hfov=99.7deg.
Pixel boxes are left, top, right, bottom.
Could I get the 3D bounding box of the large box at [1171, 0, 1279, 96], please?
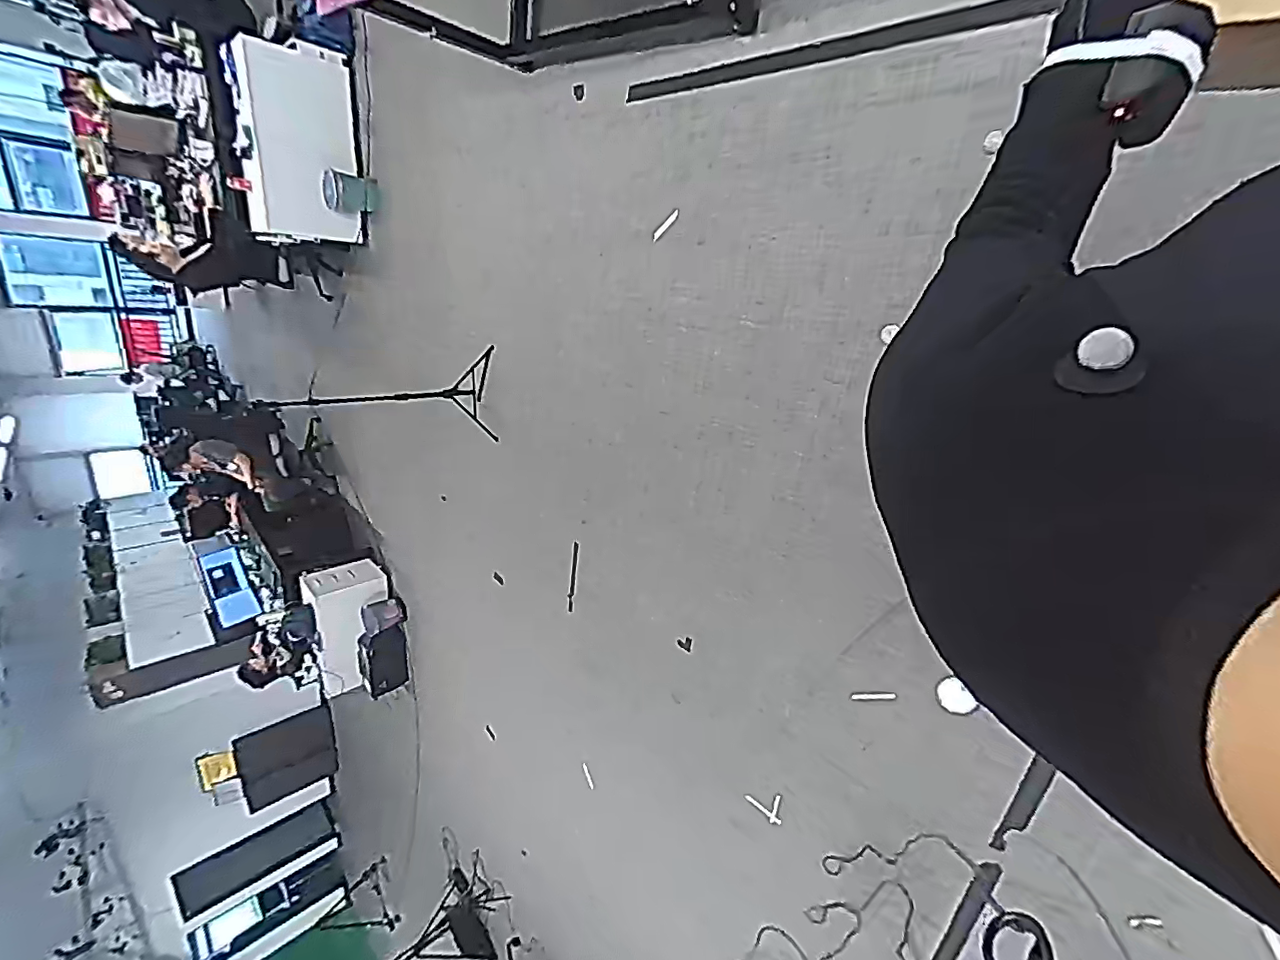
[{"bbox_3d":[0.617,-0.431,0.293,0.408,0.320,0.320,25,126,35],"label":"large box"}]
